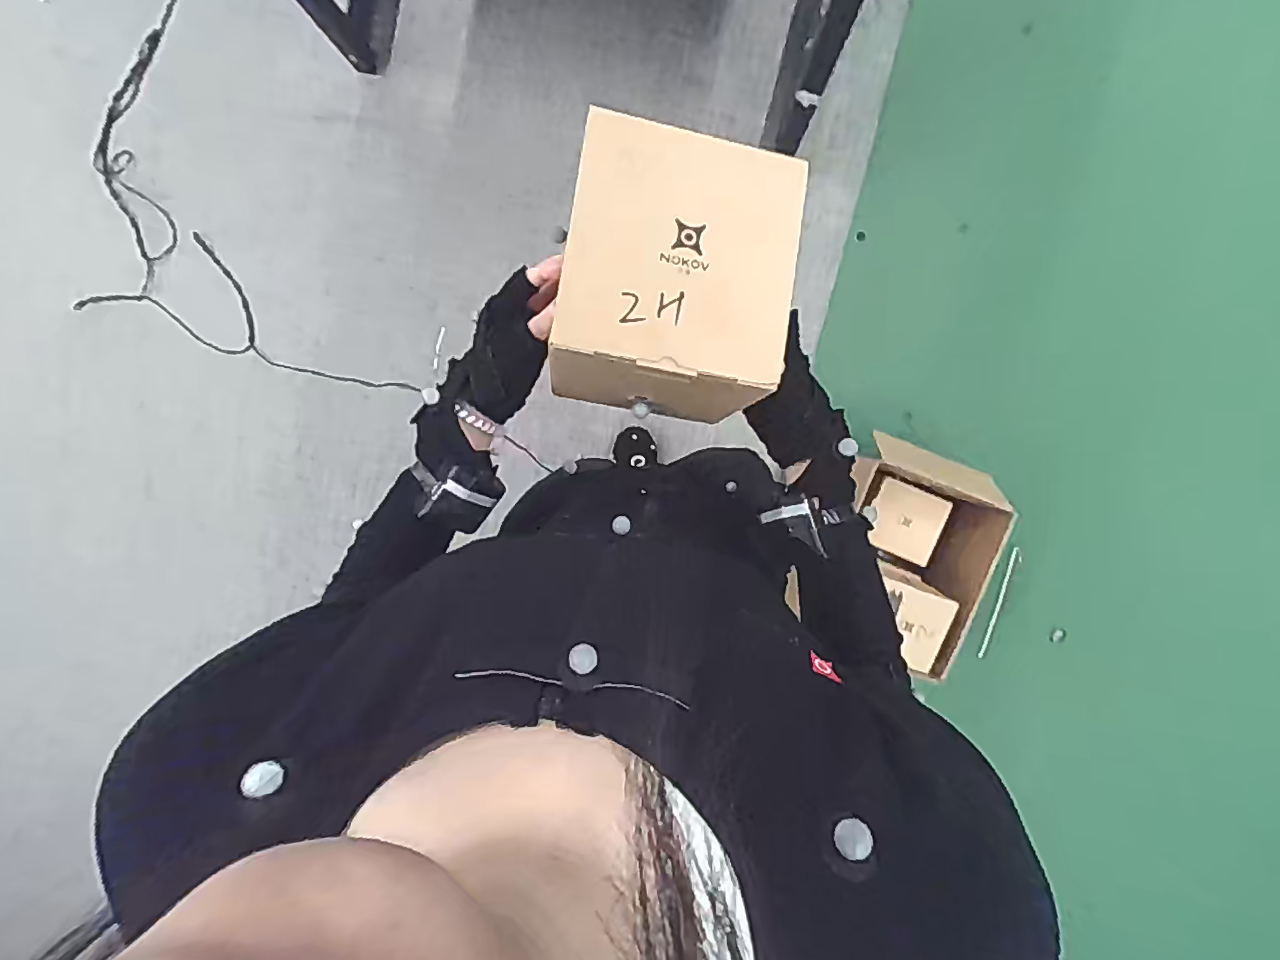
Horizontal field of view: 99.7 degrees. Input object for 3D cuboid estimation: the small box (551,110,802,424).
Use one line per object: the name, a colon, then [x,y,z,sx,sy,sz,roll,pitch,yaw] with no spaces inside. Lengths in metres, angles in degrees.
small box: [0.018,-0.158,0.462,0.168,0.176,0.179,9,86,-8]
